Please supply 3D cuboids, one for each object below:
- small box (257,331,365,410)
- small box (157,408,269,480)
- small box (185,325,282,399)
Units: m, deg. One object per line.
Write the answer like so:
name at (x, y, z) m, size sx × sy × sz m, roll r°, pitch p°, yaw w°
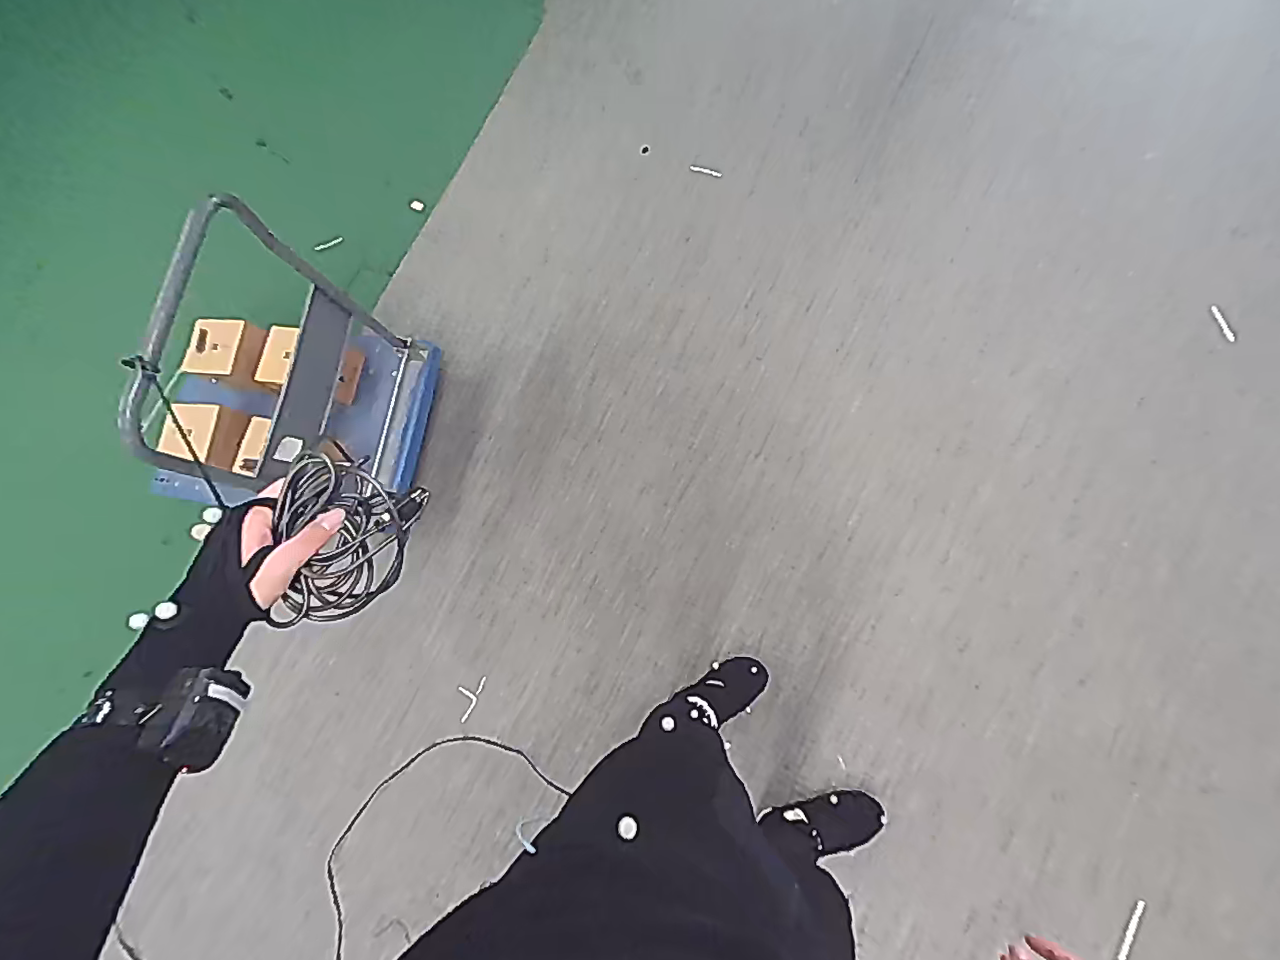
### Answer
small box at (-0.939, -0.310, 1.556) m, size 0.179 × 0.176 × 0.168 m, roll 8°, pitch 79°, yaw 13°
small box at (-1.225, -0.099, 1.566) m, size 0.179 × 0.176 × 0.168 m, roll 3°, pitch 77°, yaw 13°
small box at (-1.193, -0.349, 1.619) m, size 0.179 × 0.176 × 0.168 m, roll 5°, pitch 79°, yaw 13°
